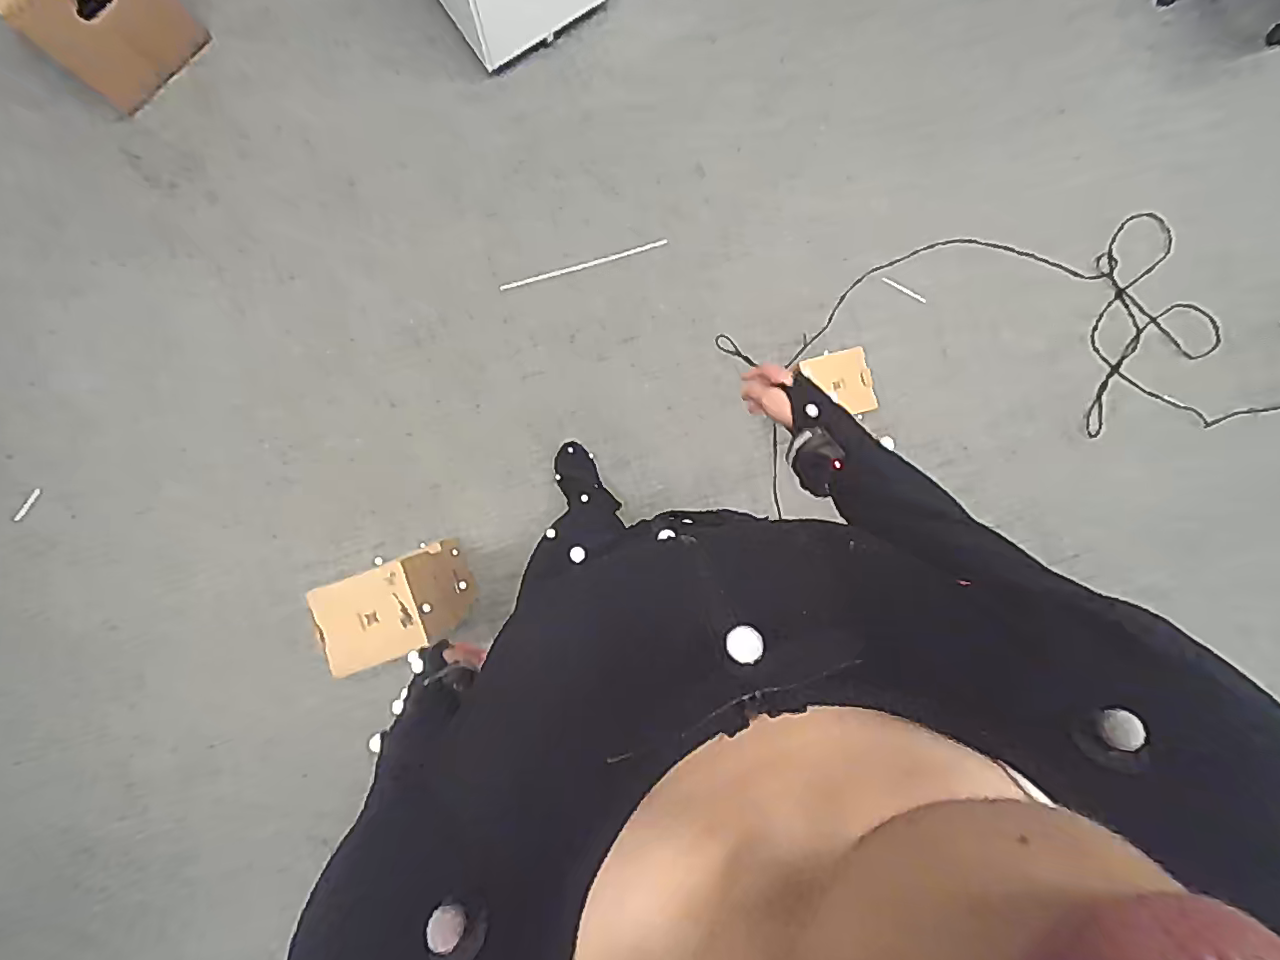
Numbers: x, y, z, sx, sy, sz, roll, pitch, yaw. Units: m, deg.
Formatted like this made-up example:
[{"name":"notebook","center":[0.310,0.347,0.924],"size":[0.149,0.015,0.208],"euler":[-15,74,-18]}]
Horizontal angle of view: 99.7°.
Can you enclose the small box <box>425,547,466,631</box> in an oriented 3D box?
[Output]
[{"name":"small box","center":[-0.510,0.256,1.195],"size":[0.179,0.176,0.168],"euler":[-18,90,-5]}]

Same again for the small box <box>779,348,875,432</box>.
[{"name":"small box","center":[0.486,-0.232,1.436],"size":[0.179,0.176,0.168],"euler":[-15,89,-5]}]

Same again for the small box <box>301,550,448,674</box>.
[{"name":"small box","center":[-0.495,0.242,1.032],"size":[0.179,0.176,0.168],"euler":[-18,90,-4]}]
